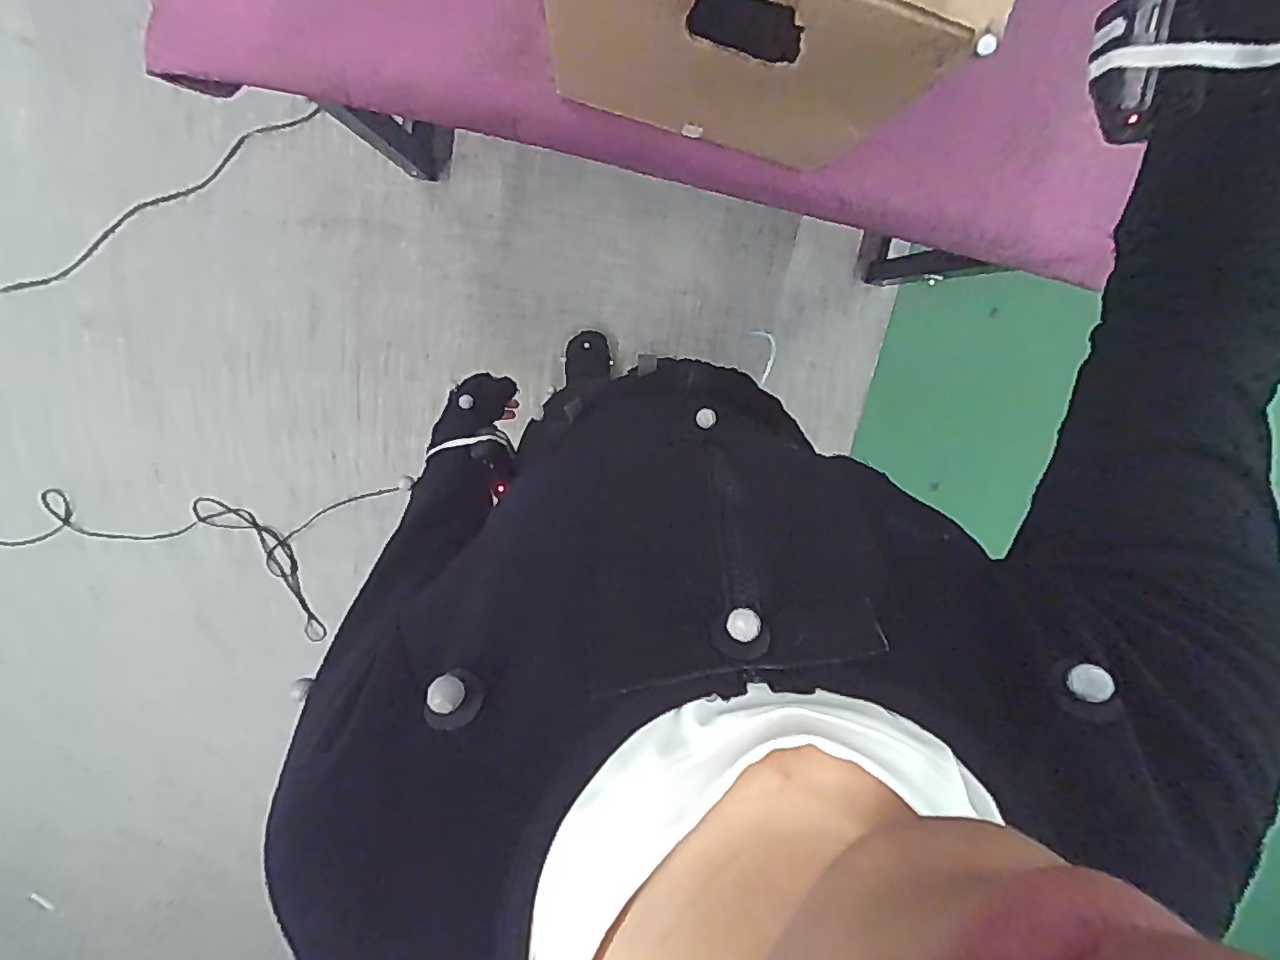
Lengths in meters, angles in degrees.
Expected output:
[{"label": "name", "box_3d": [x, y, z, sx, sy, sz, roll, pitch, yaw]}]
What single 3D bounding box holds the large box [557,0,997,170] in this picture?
[{"label": "large box", "box_3d": [0.119, -0.550, 0.447, 0.320, 0.320, 0.408, 12, 105, -8]}]
